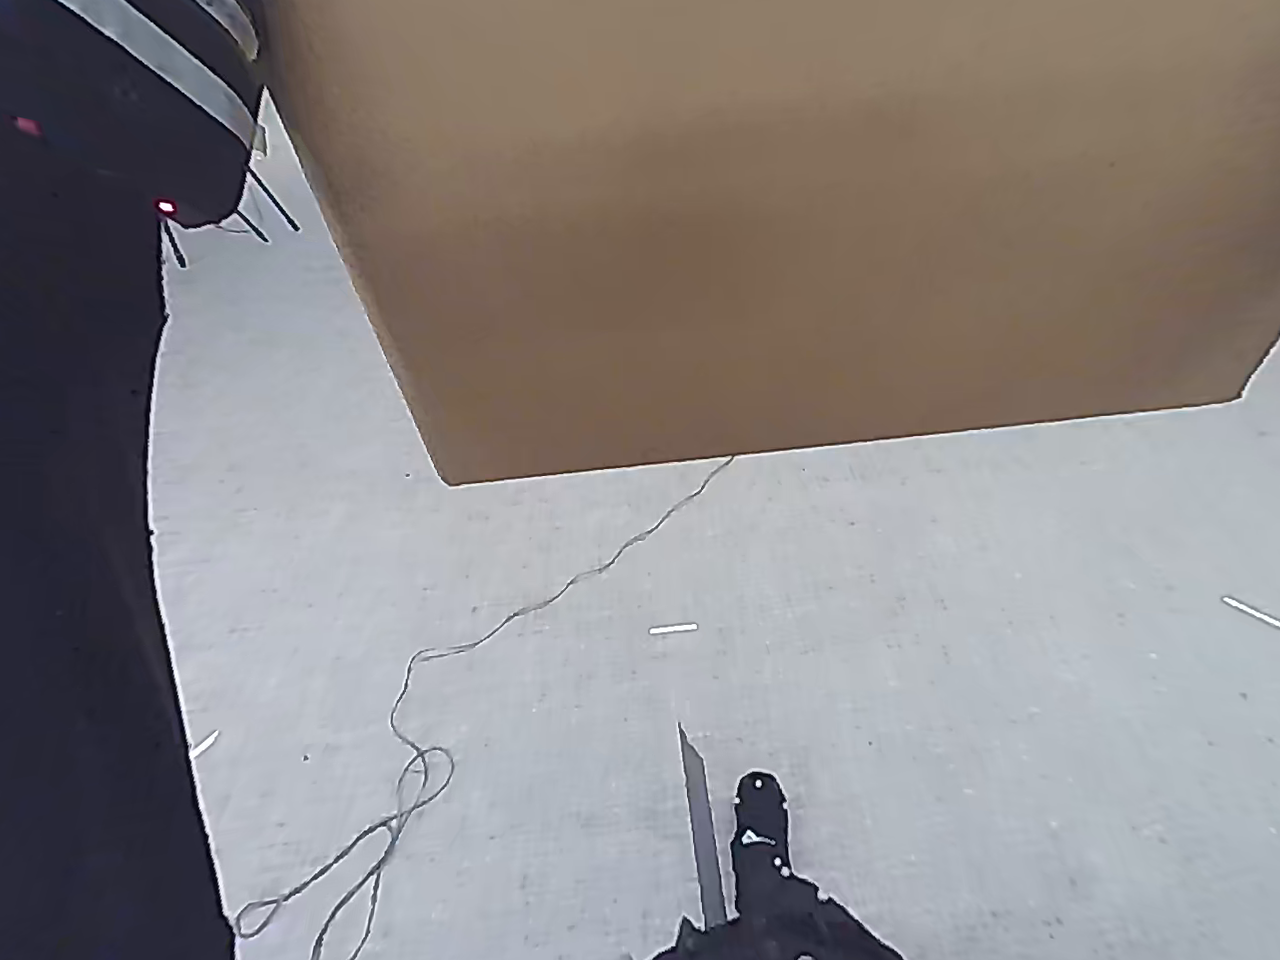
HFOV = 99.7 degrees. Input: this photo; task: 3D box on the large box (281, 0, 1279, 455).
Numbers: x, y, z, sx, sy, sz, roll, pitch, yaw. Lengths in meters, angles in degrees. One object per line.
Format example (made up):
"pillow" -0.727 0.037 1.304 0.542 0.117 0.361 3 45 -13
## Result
"large box" 0.074 -0.239 0.302 0.408 0.320 0.320 -6 41 0
